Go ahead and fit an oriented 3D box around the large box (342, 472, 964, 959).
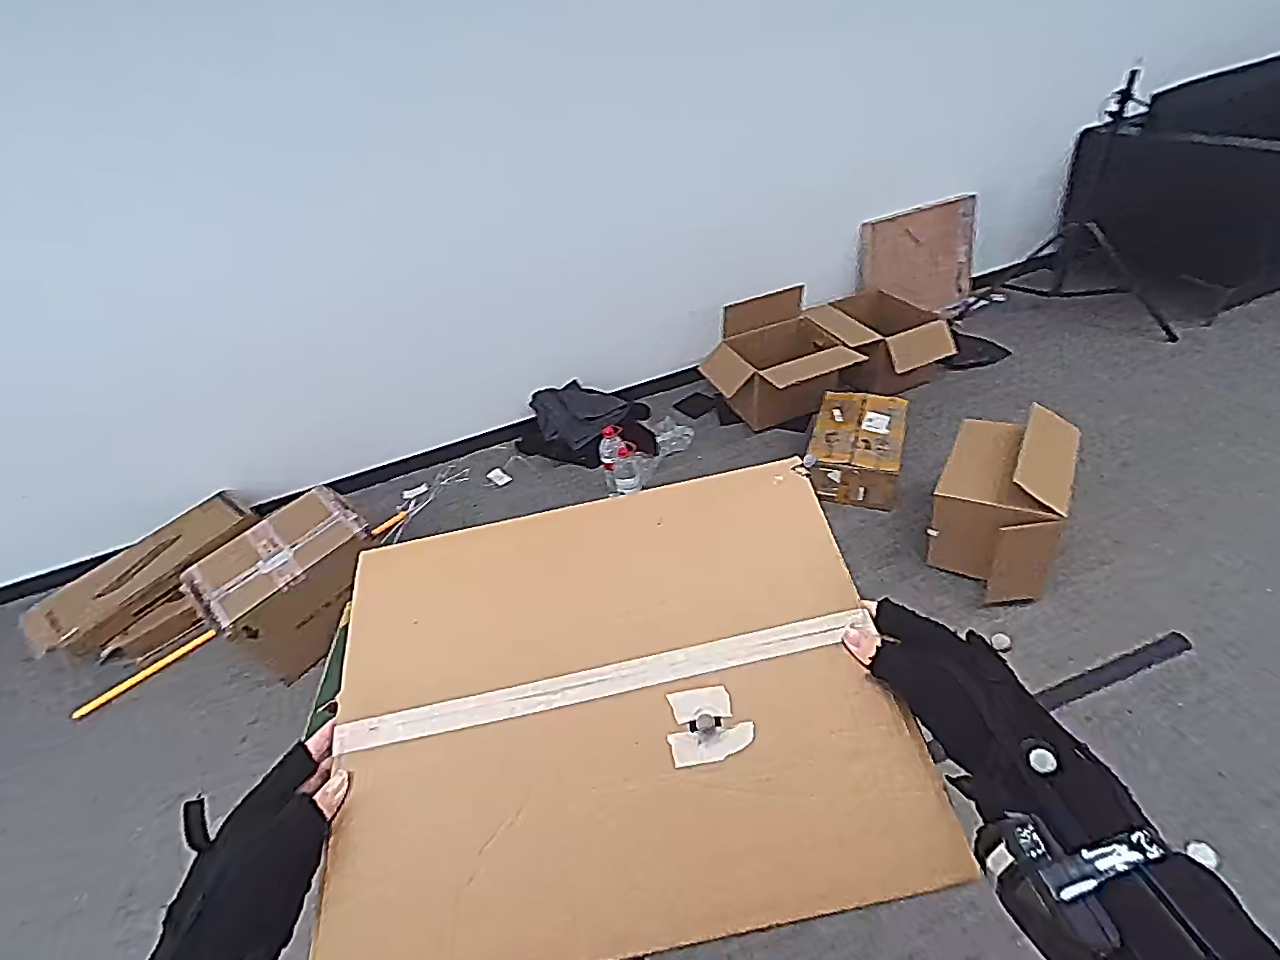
[{"bbox_3d":[-0.003,0.240,0.536,0.408,0.320,0.320,-12,56,-1],"label":"large box"}]
